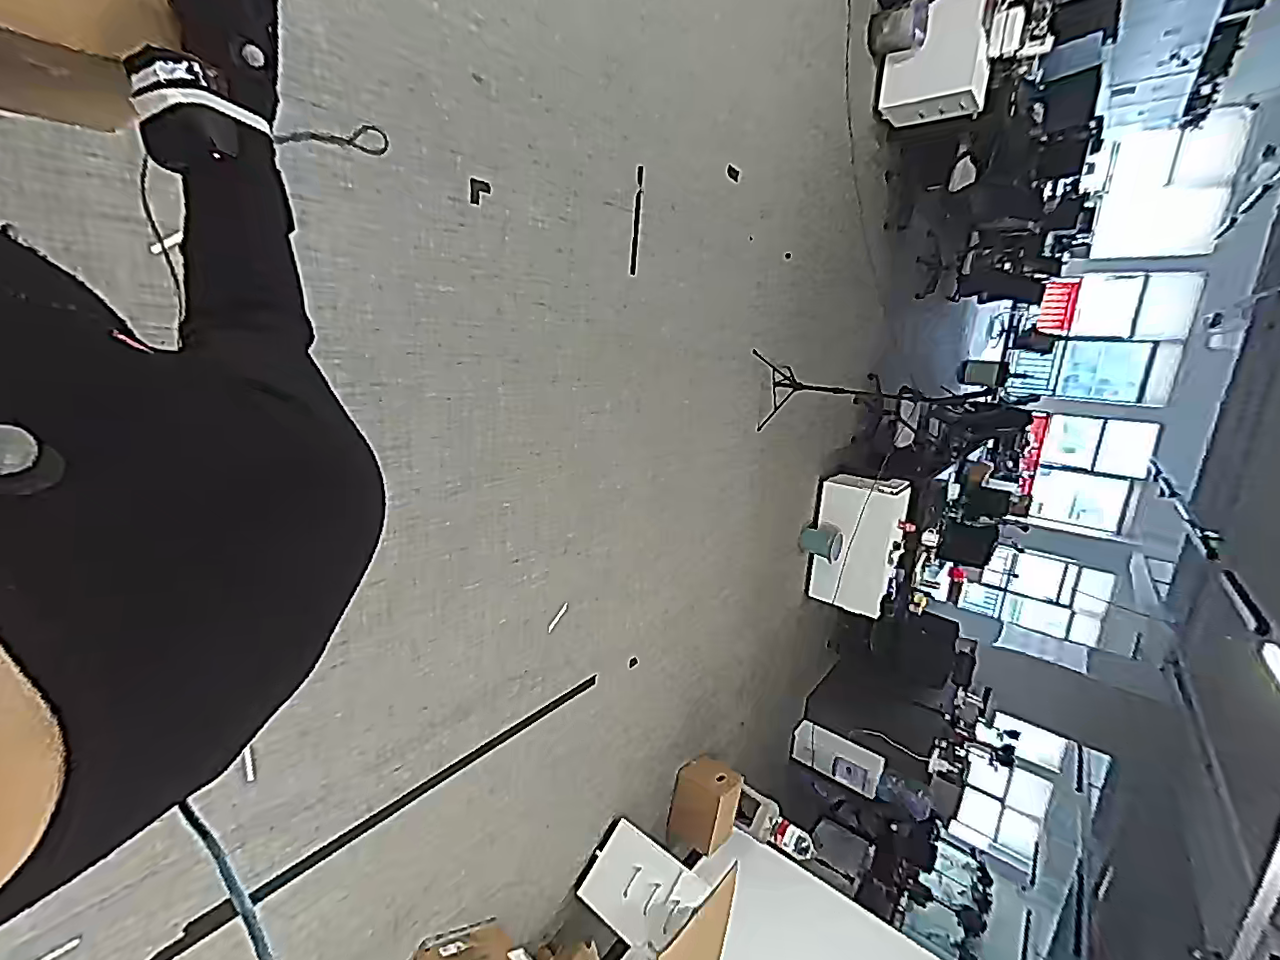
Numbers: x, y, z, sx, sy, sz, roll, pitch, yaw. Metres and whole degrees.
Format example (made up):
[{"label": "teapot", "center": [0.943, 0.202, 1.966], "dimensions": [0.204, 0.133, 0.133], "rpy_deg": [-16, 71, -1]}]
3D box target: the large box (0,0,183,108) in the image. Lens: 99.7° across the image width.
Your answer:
[{"label": "large box", "center": [-0.570, -0.457, 0.295], "dimensions": [0.408, 0.320, 0.320], "rpy_deg": [-17, 120, -49]}]
